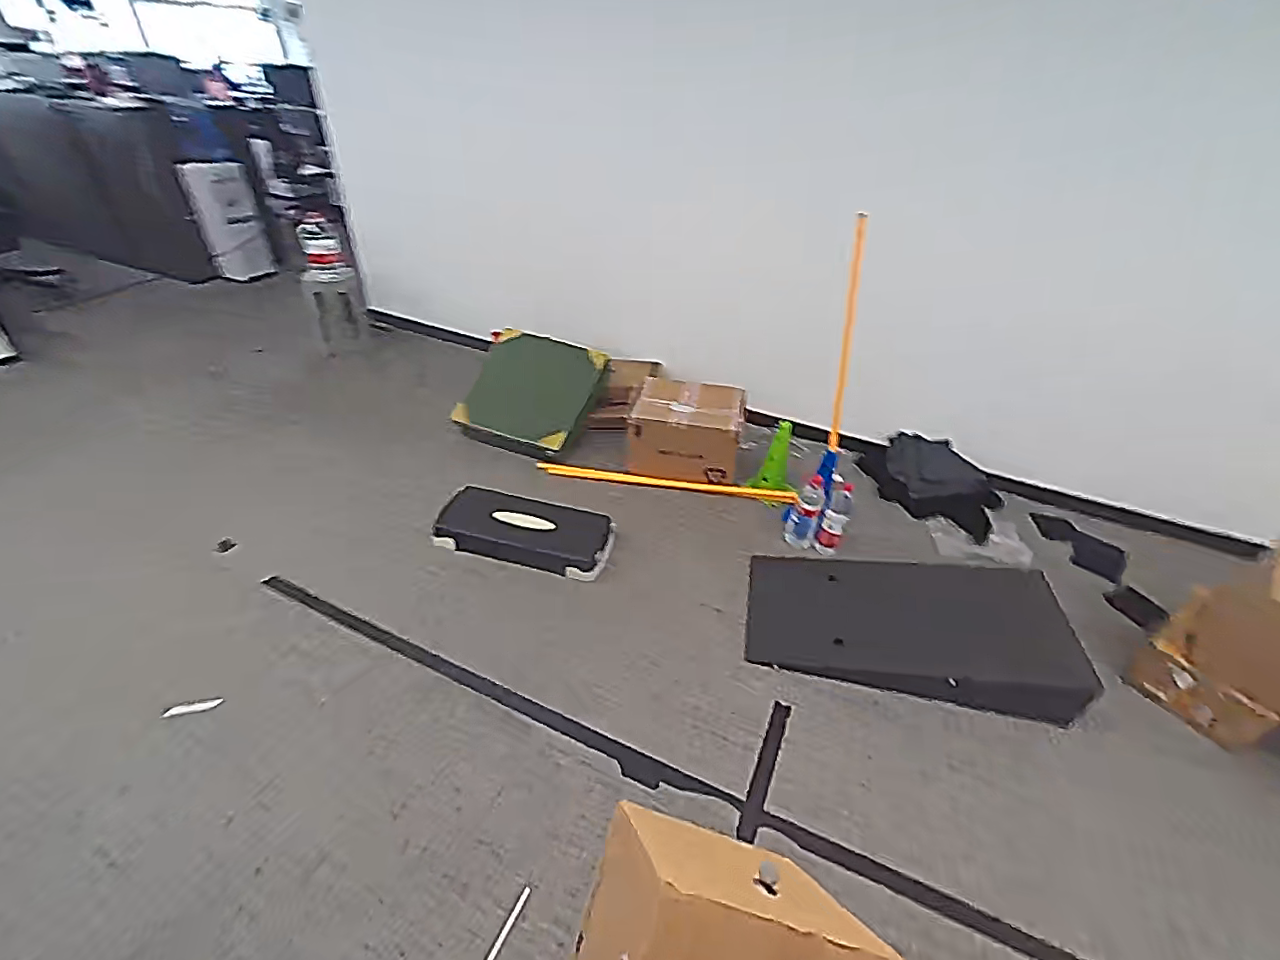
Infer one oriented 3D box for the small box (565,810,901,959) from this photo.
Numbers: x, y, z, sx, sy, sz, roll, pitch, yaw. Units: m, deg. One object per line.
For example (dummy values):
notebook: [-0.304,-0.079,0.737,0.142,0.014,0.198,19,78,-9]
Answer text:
small box: [0.052,0.365,0.383,0.179,0.176,0.168,23,71,-7]
